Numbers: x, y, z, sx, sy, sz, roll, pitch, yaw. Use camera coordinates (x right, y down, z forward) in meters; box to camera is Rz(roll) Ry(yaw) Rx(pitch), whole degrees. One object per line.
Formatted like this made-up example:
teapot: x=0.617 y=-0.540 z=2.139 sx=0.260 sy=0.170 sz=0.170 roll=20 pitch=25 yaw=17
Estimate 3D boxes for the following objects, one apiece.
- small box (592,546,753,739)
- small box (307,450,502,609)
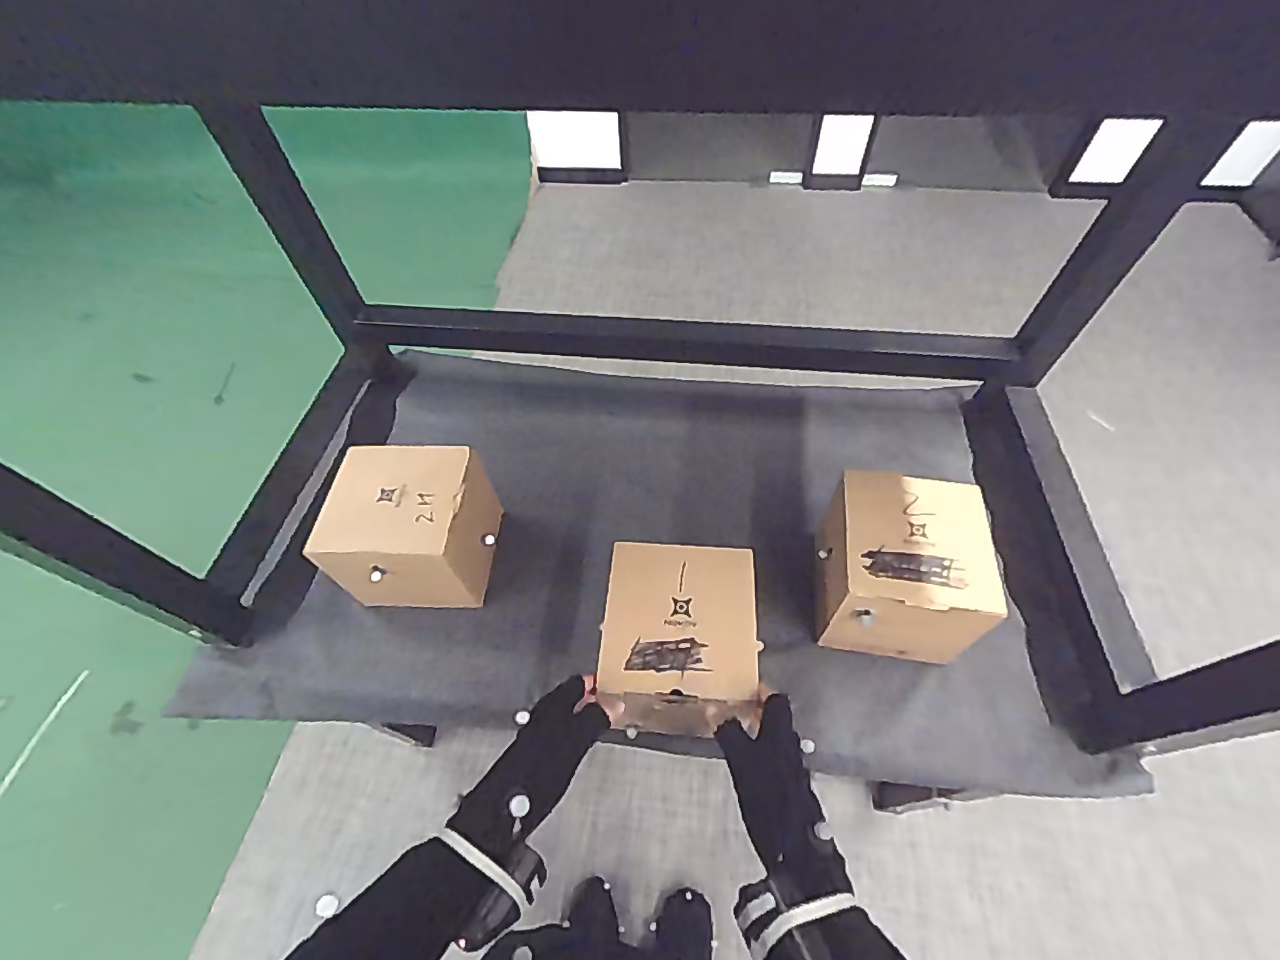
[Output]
small box: x=0.044 y=0.200 z=0.653 sx=0.168 sy=0.176 sz=0.179 roll=3 pitch=53 yaw=5
small box: x=-0.313 y=0.074 z=0.762 sx=0.179 sy=0.176 sz=0.168 roll=1 pitch=55 yaw=3
